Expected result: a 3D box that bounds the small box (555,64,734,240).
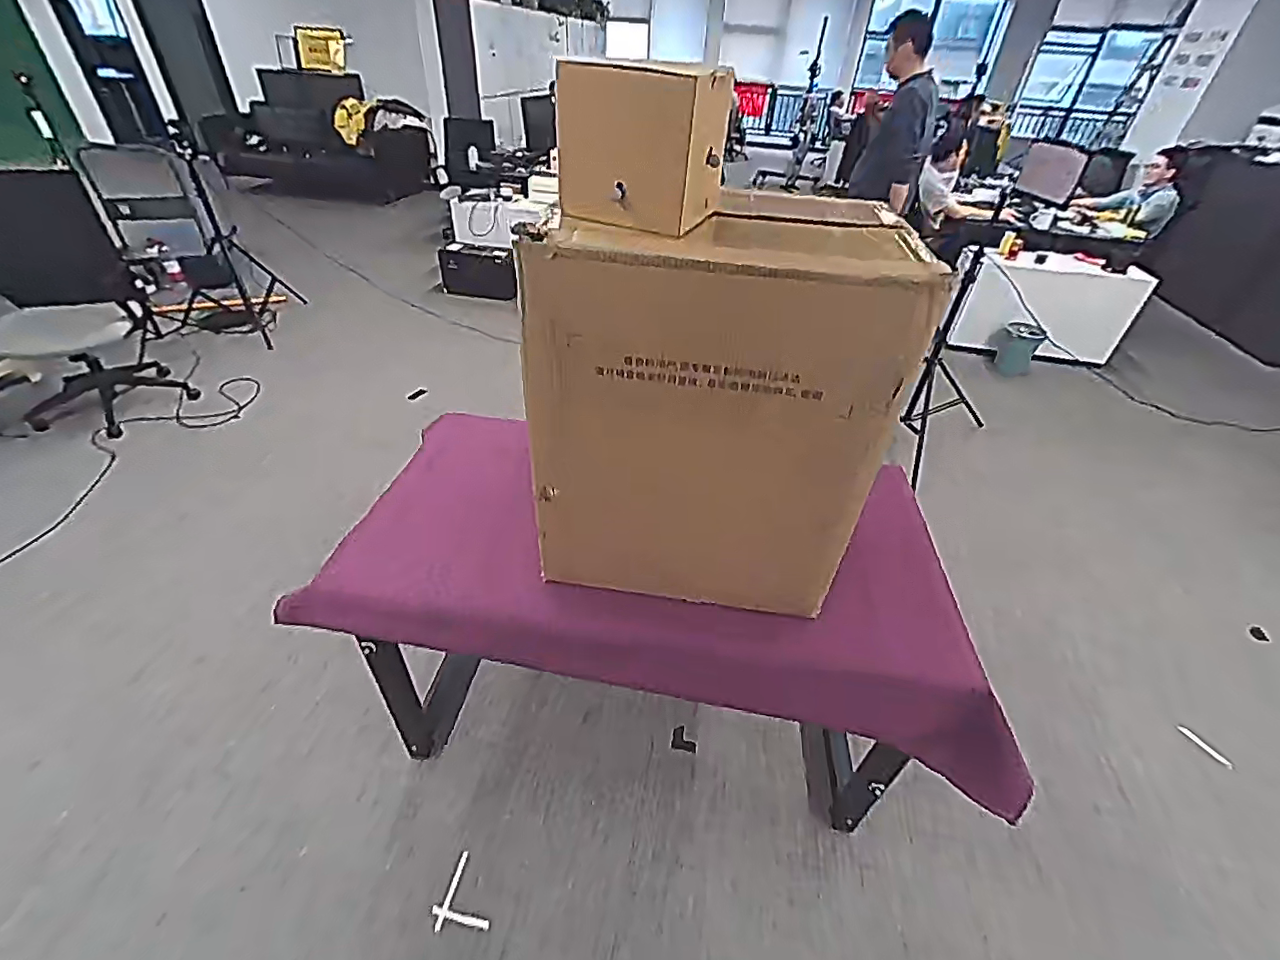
[{"bbox_3d":[0.006,-0.429,0.710,0.179,0.176,0.168,18,42,15],"label":"small box"}]
